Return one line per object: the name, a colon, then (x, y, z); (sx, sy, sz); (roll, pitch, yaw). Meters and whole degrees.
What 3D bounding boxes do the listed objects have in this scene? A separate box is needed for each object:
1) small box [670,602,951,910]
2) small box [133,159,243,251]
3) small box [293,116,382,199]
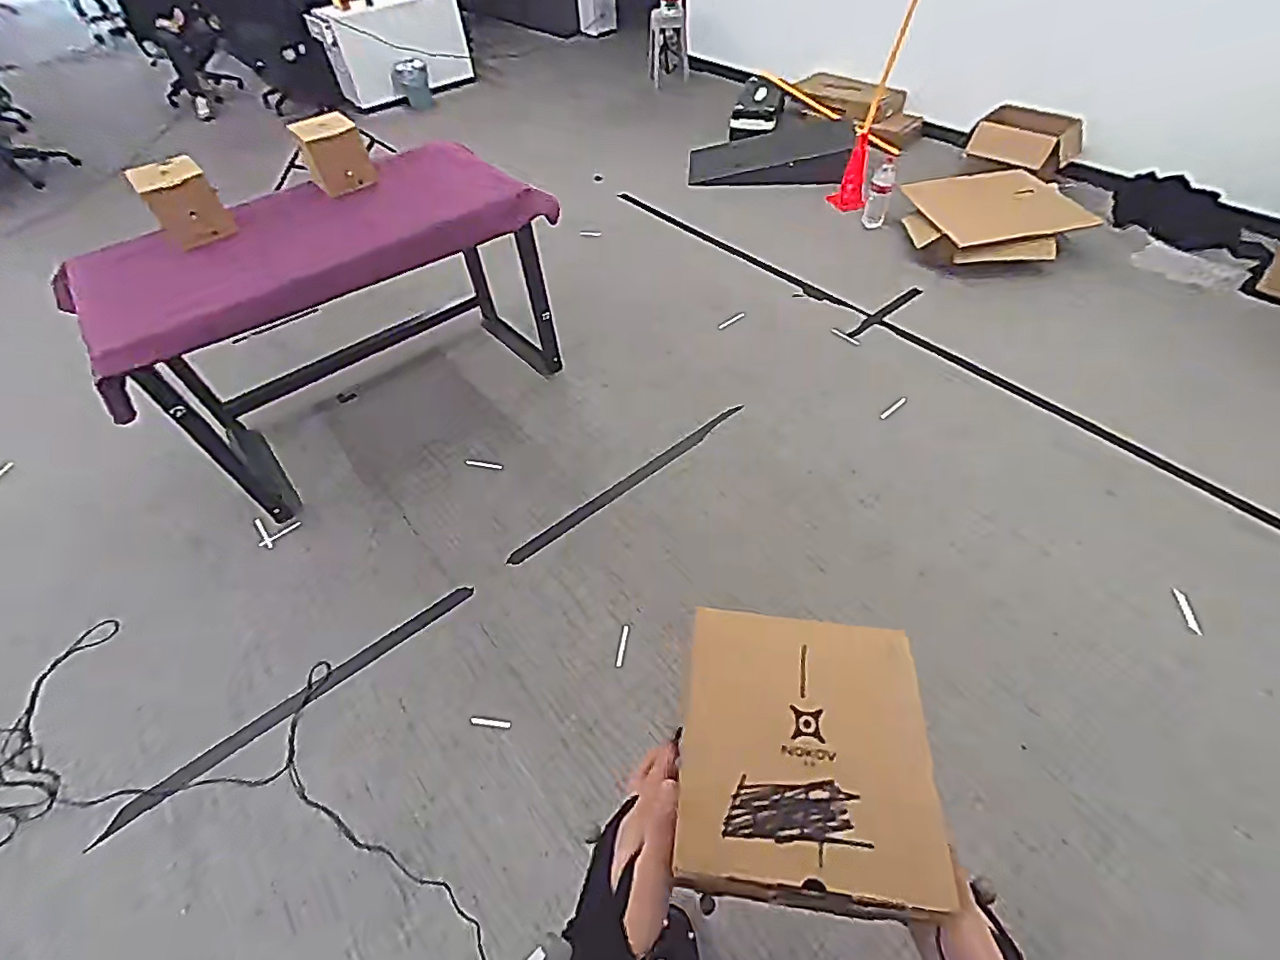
small box: (0.115, 0.223, 0.433); (0.168, 0.176, 0.179); (6, 50, 6)
small box: (-1.305, -0.793, 1.572); (0.168, 0.176, 0.179); (-35, 60, -22)
small box: (-0.971, -1.037, 1.744); (0.168, 0.176, 0.179); (-35, 59, -21)
